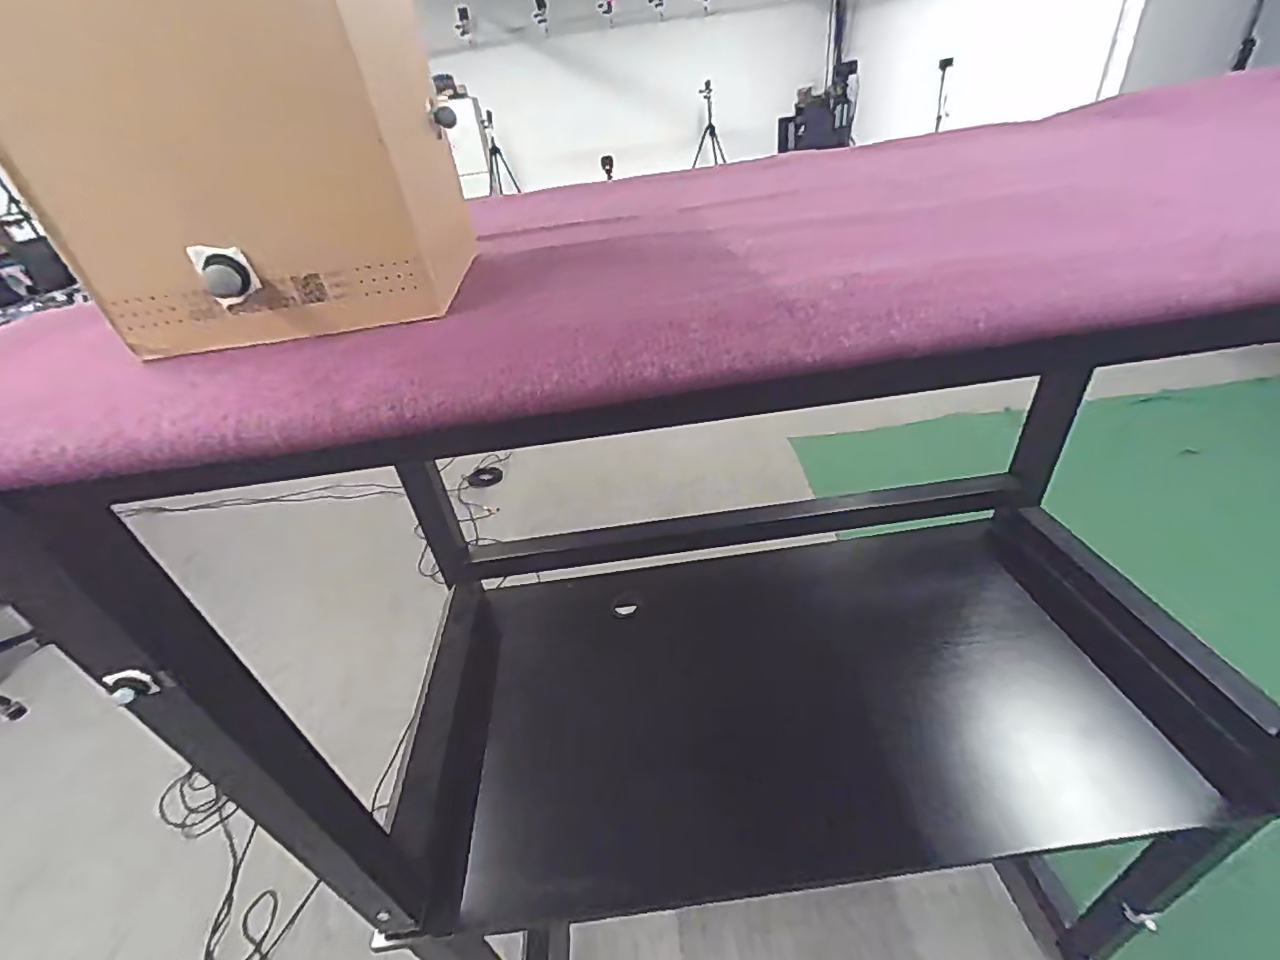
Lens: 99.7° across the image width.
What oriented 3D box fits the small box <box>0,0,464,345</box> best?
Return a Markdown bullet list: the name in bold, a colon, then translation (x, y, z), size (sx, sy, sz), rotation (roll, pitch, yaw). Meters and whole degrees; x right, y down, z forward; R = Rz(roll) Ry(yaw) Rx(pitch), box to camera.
- **small box**: translation (-0.210, -0.193, 0.306), size (0.168, 0.176, 0.179), rotation (-11, 36, -3)
